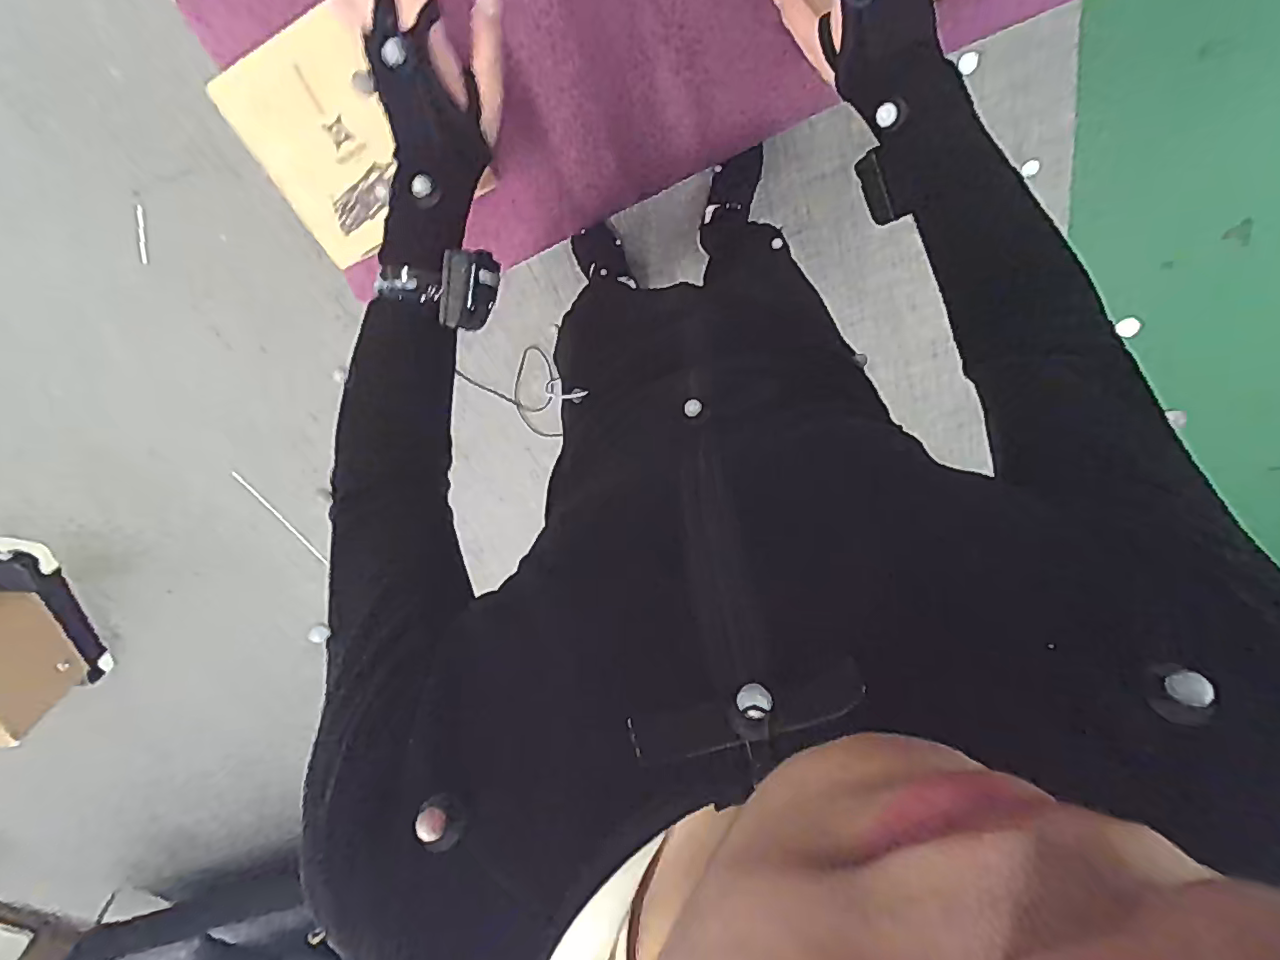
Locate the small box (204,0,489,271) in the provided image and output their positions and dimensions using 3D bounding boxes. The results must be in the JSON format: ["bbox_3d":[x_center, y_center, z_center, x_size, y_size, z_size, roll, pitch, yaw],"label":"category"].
[{"bbox_3d":[-0.285,-0.356,0.577,0.168,0.176,0.179,-23,120,12],"label":"small box"}]

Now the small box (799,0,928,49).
[{"bbox_3d":[0.240,-0.535,0.487,0.179,0.176,0.168,-26,120,14],"label":"small box"}]
